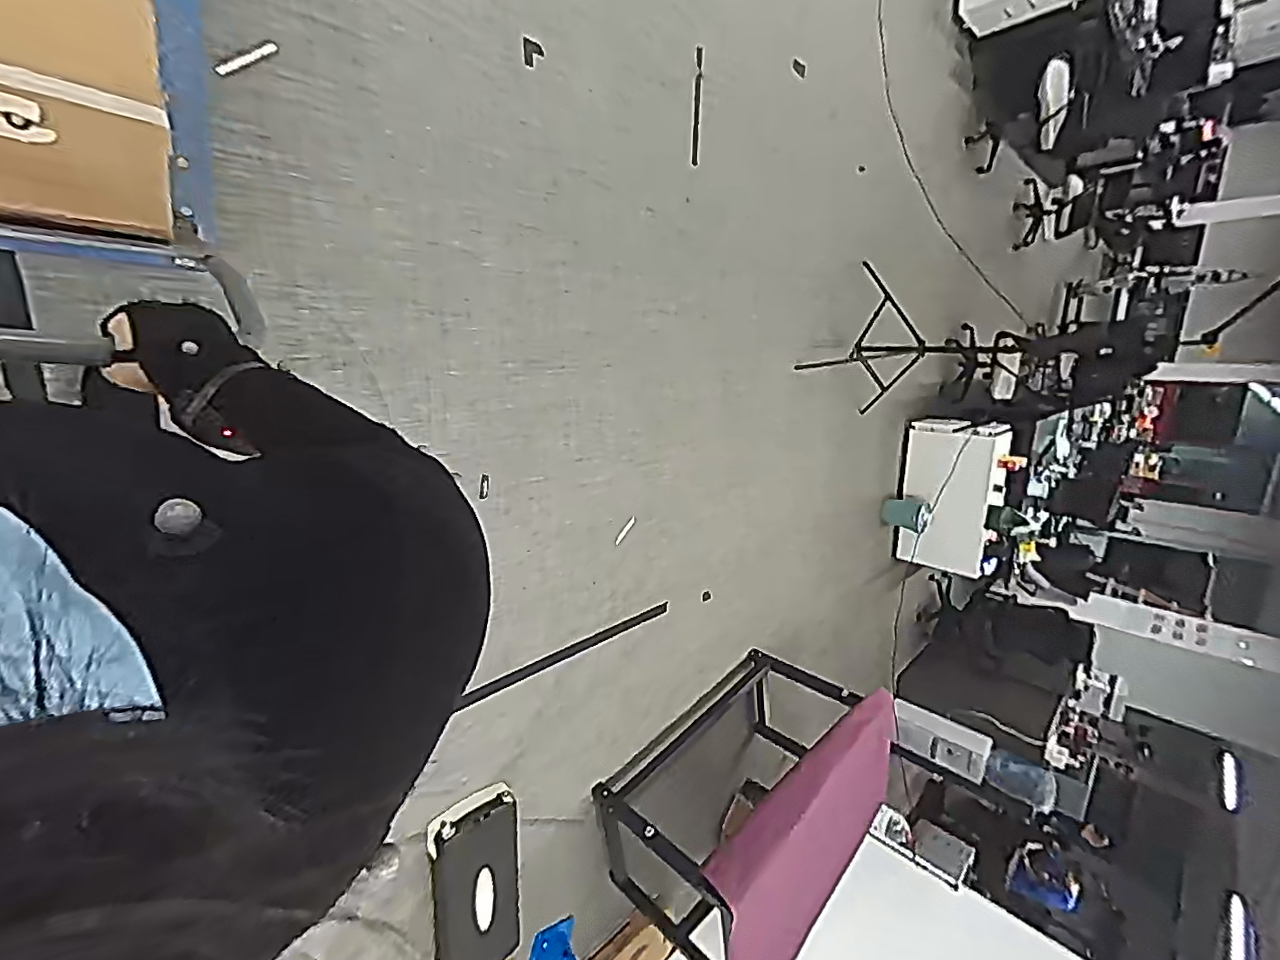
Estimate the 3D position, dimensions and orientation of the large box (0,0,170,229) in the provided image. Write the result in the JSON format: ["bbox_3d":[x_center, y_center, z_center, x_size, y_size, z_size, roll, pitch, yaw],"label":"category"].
[{"bbox_3d":[-0.899,-0.535,0.692,0.408,0.320,0.320,-8,118,-45],"label":"large box"}]
